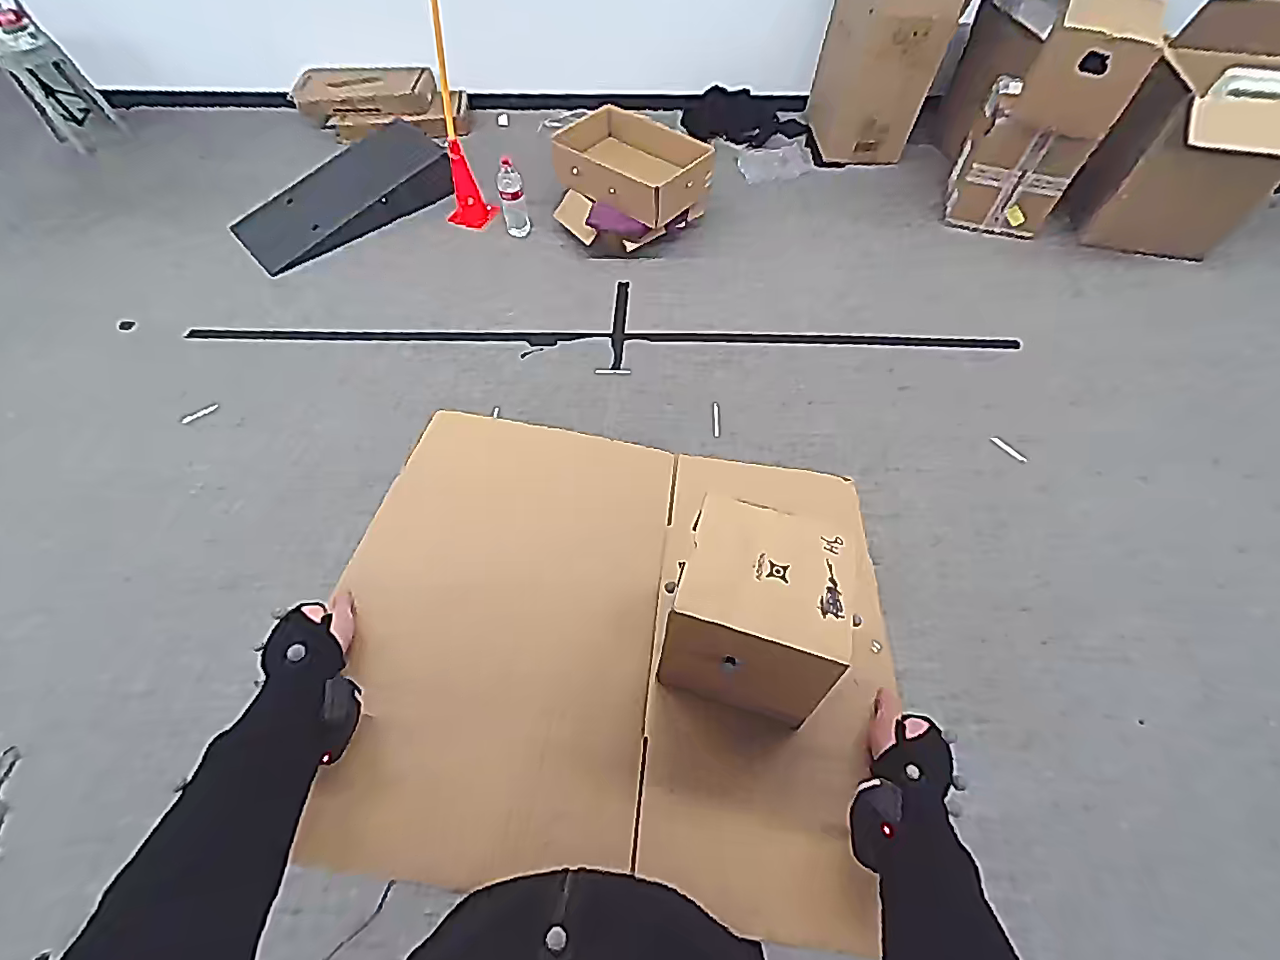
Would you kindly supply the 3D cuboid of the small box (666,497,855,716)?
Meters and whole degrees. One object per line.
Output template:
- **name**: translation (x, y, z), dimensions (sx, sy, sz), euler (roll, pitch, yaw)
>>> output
- **small box**: translation (0.134, 0.150, 0.631), dimensions (0.179, 0.176, 0.168), euler (14, 48, 10)
